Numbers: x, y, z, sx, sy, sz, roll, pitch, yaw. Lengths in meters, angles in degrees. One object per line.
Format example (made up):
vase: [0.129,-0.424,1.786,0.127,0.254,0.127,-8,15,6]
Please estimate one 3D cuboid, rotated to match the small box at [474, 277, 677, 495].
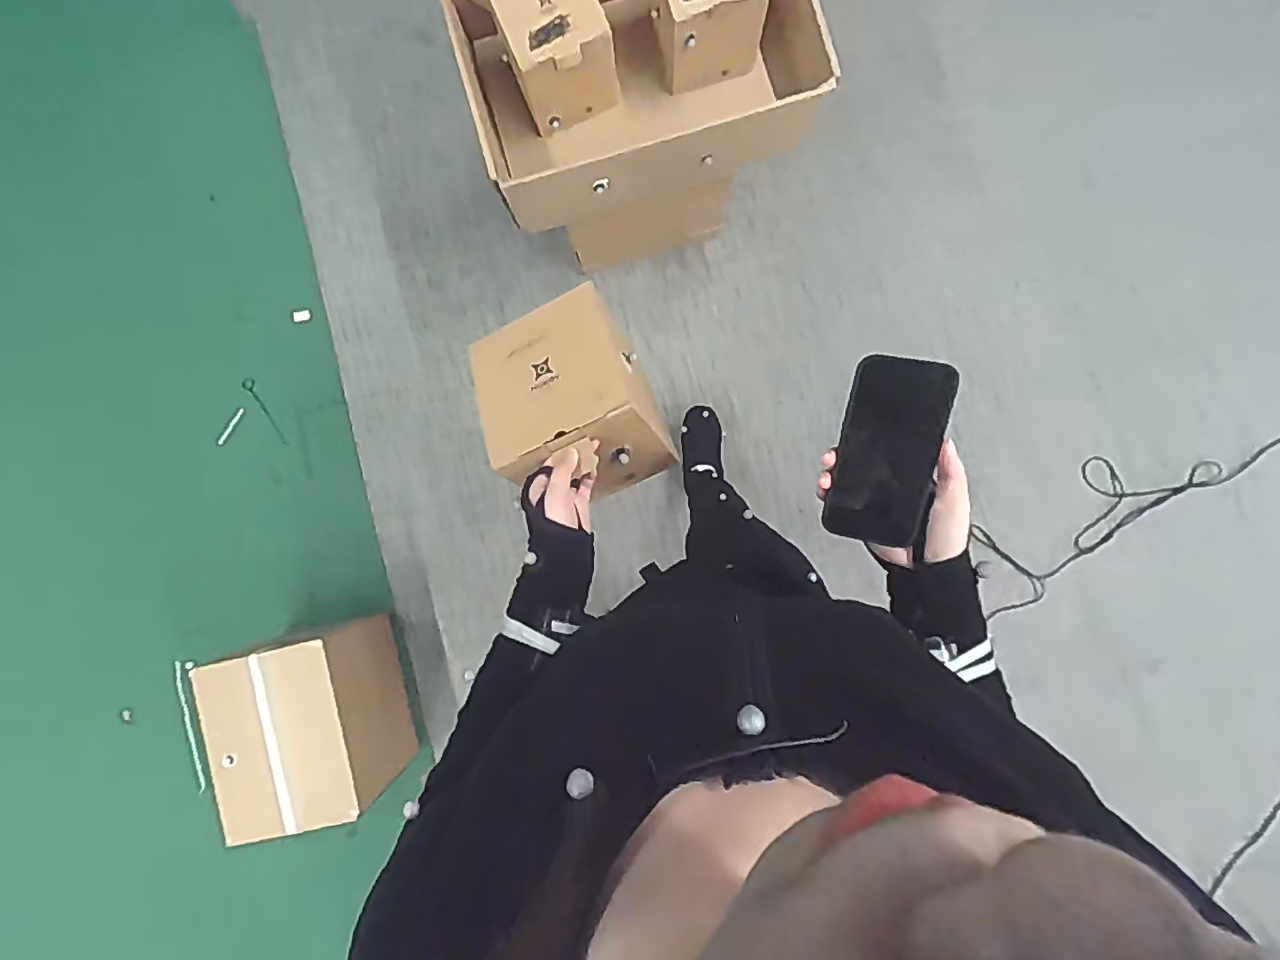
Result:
small box: [-0.071,-0.096,0.651,0.168,0.176,0.179,-24,63,12]
